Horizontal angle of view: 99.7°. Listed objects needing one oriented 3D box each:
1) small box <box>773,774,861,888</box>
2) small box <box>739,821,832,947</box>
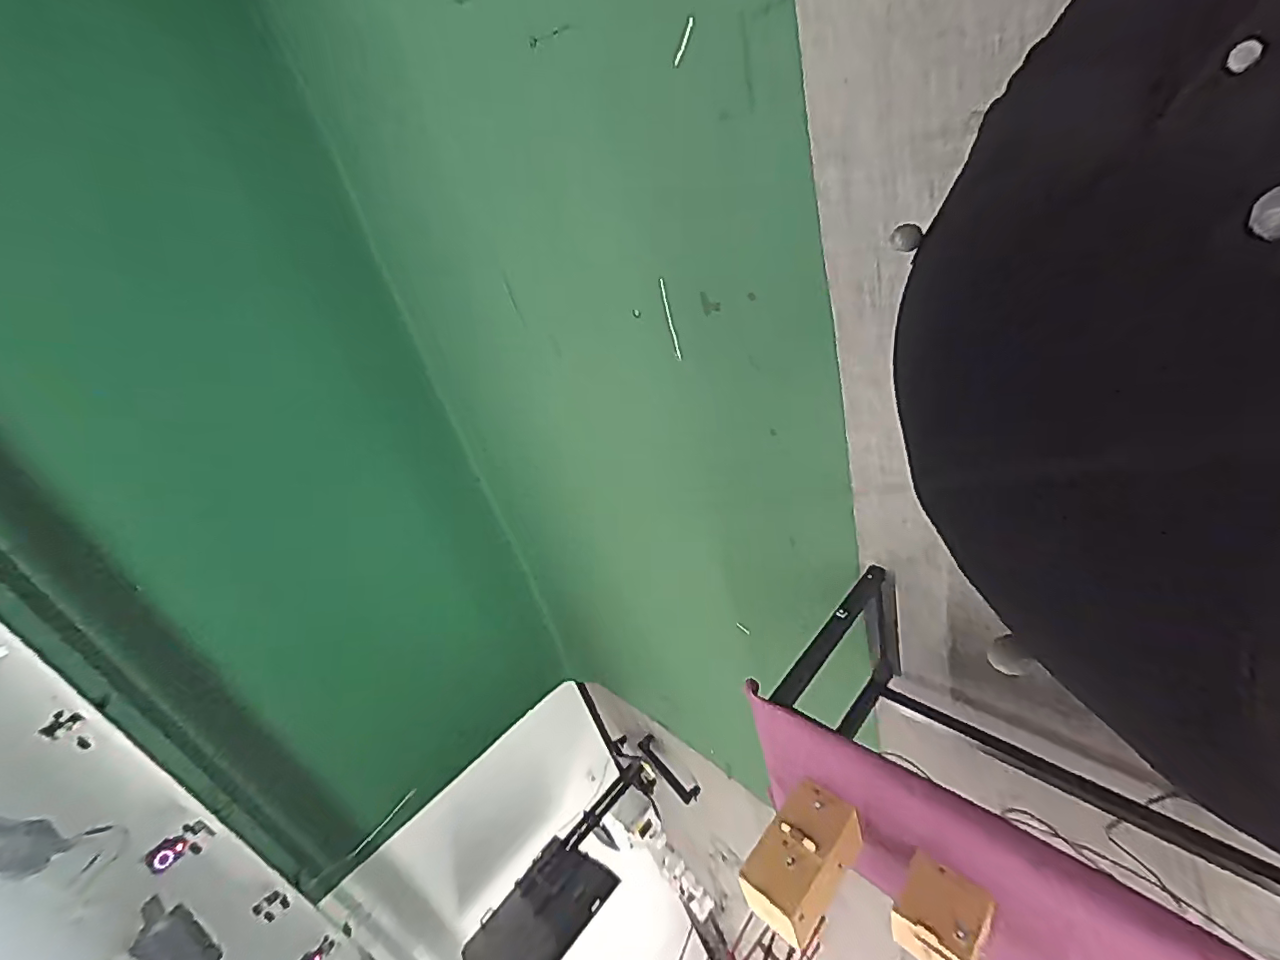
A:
[{"bbox_3d":[0.504,0.980,1.523,0.168,0.176,0.179,11,129,46],"label":"small box"},{"bbox_3d":[0.393,1.067,1.440,0.168,0.176,0.179,12,129,46],"label":"small box"}]
